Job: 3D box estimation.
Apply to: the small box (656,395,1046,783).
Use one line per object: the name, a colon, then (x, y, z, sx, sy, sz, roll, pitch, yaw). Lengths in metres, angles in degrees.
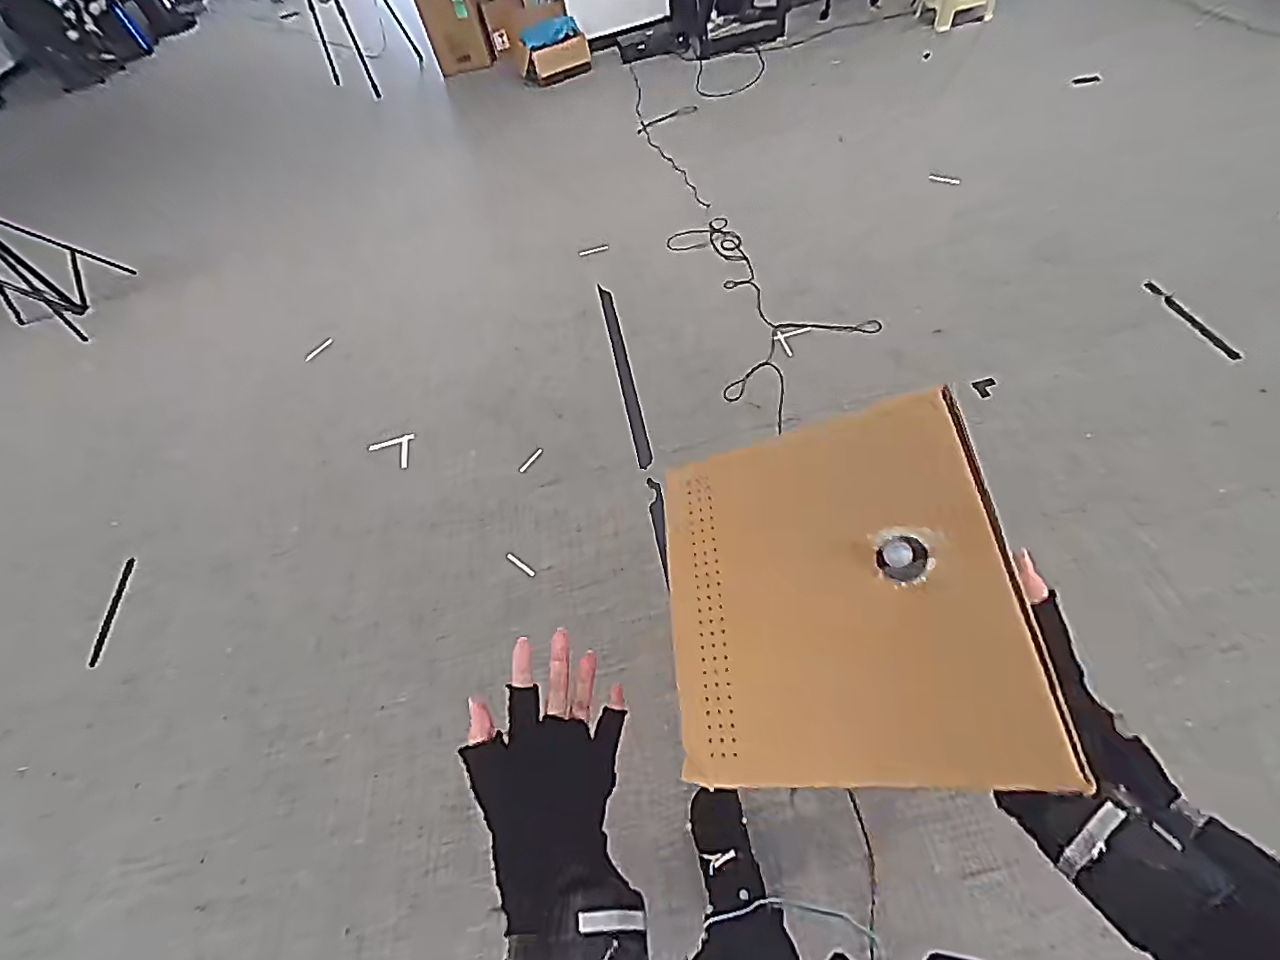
small box: (0.121, 0.082, 0.336, 0.176, 0.168, 0.179, -19, 60, 30)
